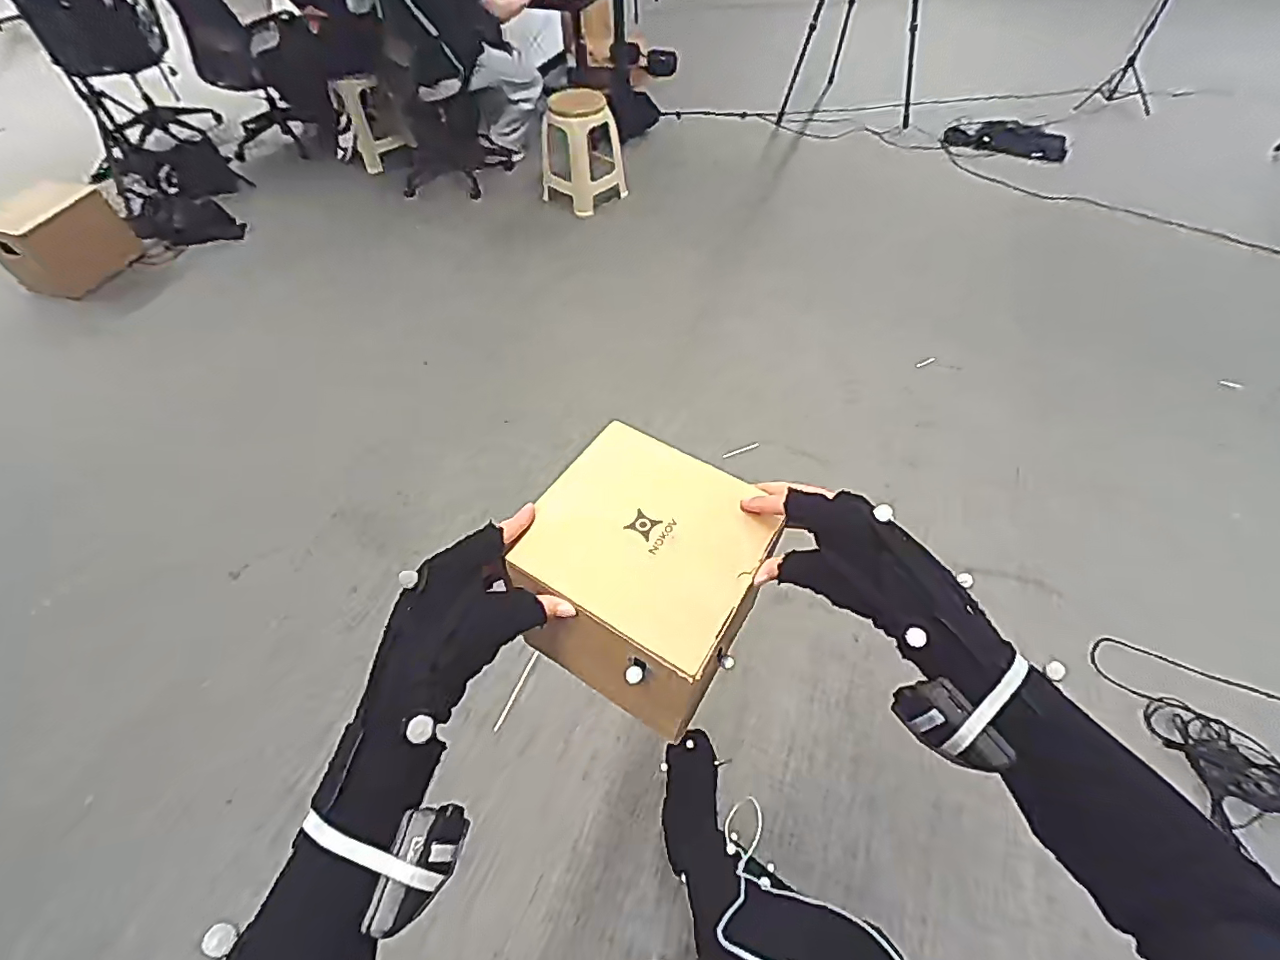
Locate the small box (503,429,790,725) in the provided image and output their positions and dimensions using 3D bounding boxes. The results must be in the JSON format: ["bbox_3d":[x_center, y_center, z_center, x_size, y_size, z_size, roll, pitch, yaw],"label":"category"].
[{"bbox_3d":[0.006,0.090,0.491,0.179,0.176,0.168,28,55,18],"label":"small box"}]
